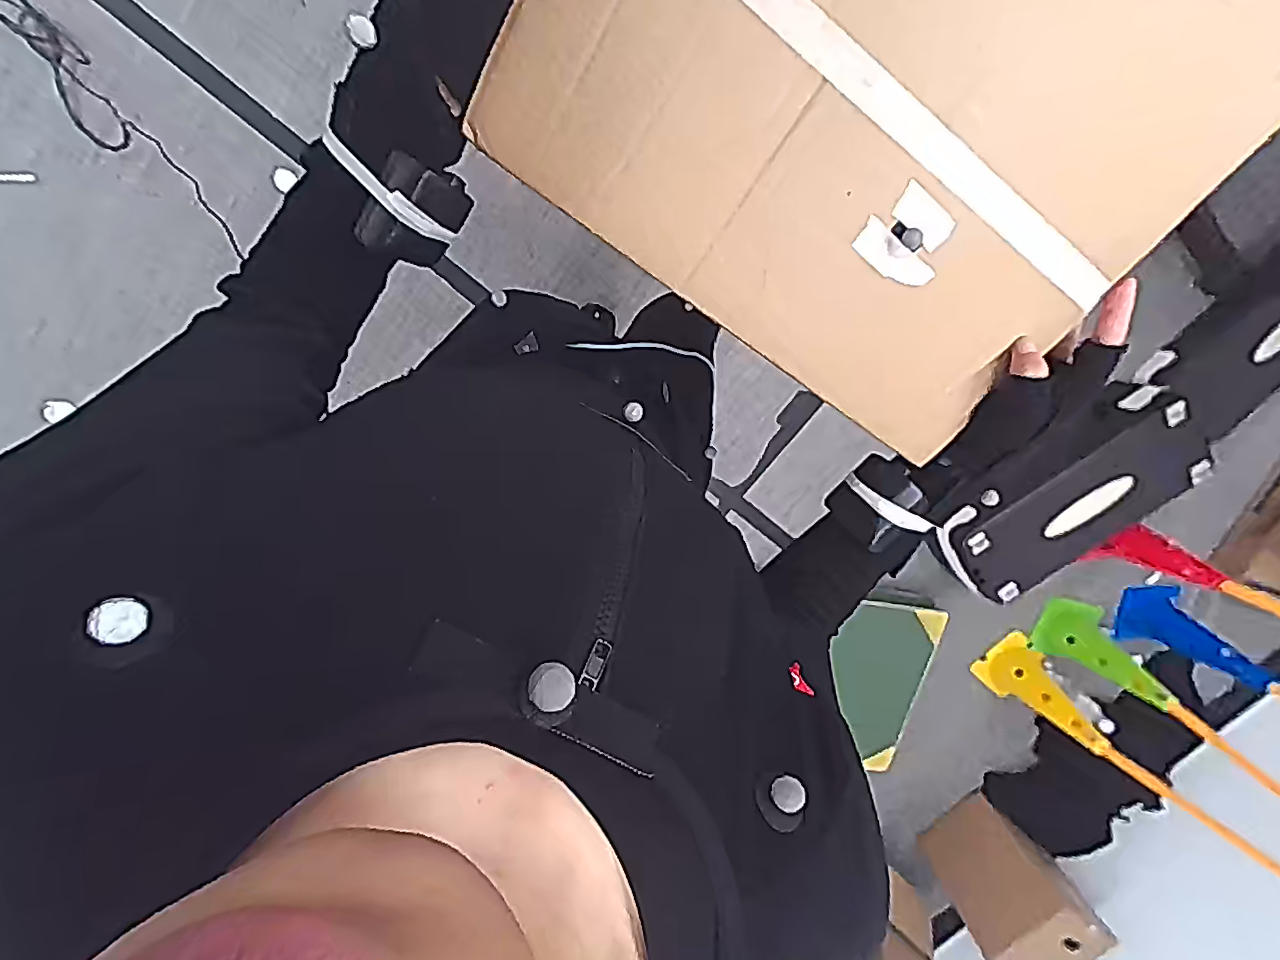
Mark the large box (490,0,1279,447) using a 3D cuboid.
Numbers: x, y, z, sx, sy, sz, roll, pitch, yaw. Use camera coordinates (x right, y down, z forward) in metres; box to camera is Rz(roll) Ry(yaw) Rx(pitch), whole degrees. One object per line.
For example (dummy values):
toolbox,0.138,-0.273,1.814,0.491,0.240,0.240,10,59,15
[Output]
large box,0.150,-0.302,0.463,0.408,0.320,0.320,31,116,-15
